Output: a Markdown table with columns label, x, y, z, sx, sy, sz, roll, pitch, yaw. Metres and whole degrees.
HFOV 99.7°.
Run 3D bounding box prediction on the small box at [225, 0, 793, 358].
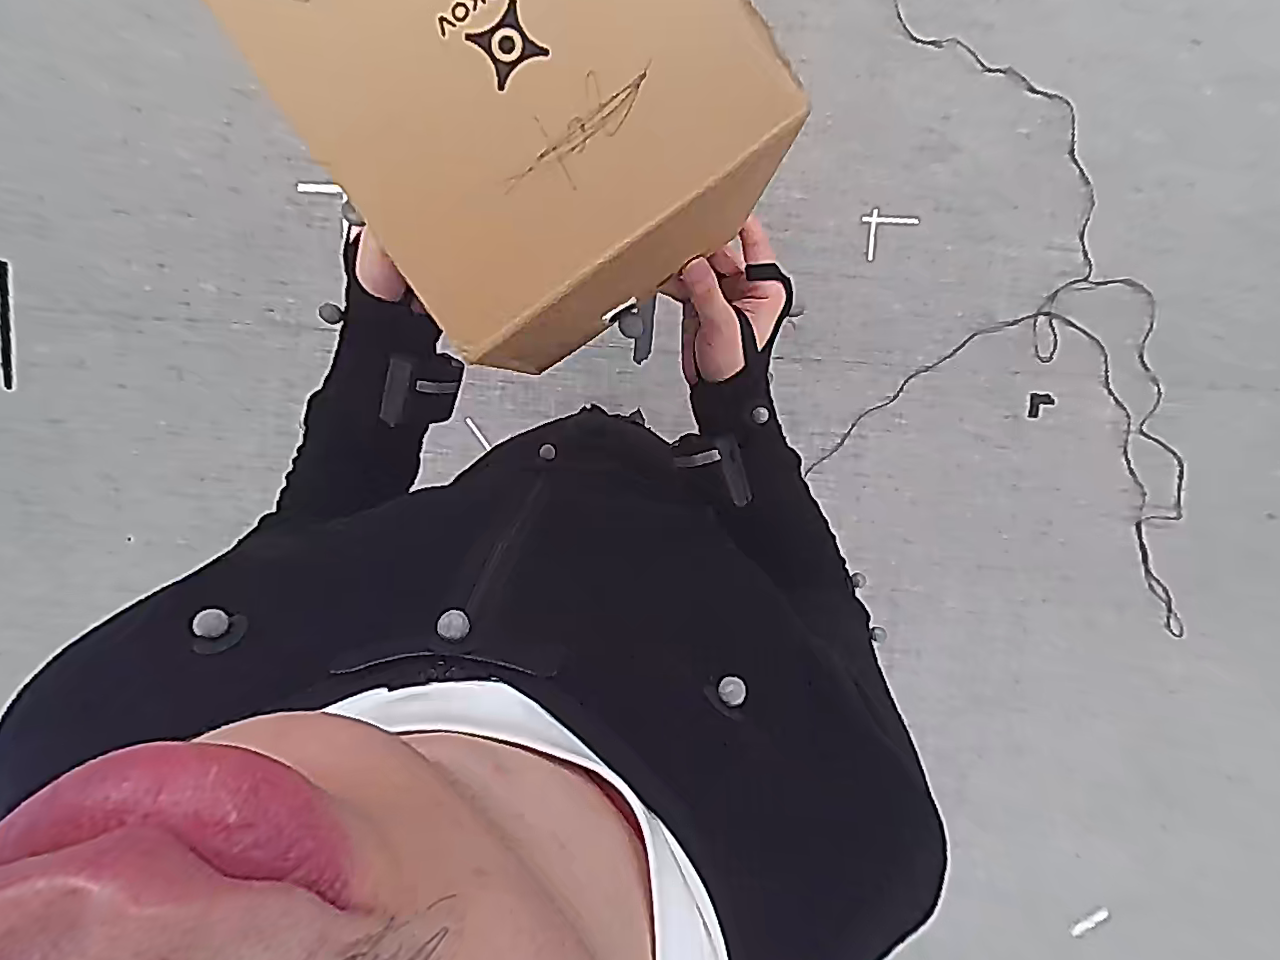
| label | x | y | z | sx | sy | sz | roll | pitch | yaw |
| --- | --- | --- | --- | --- | --- | --- | --- | --- | --- |
| small box | -0.053 | -0.183 | 0.291 | 0.168 | 0.176 | 0.179 | -35 | 98 | 6 |
